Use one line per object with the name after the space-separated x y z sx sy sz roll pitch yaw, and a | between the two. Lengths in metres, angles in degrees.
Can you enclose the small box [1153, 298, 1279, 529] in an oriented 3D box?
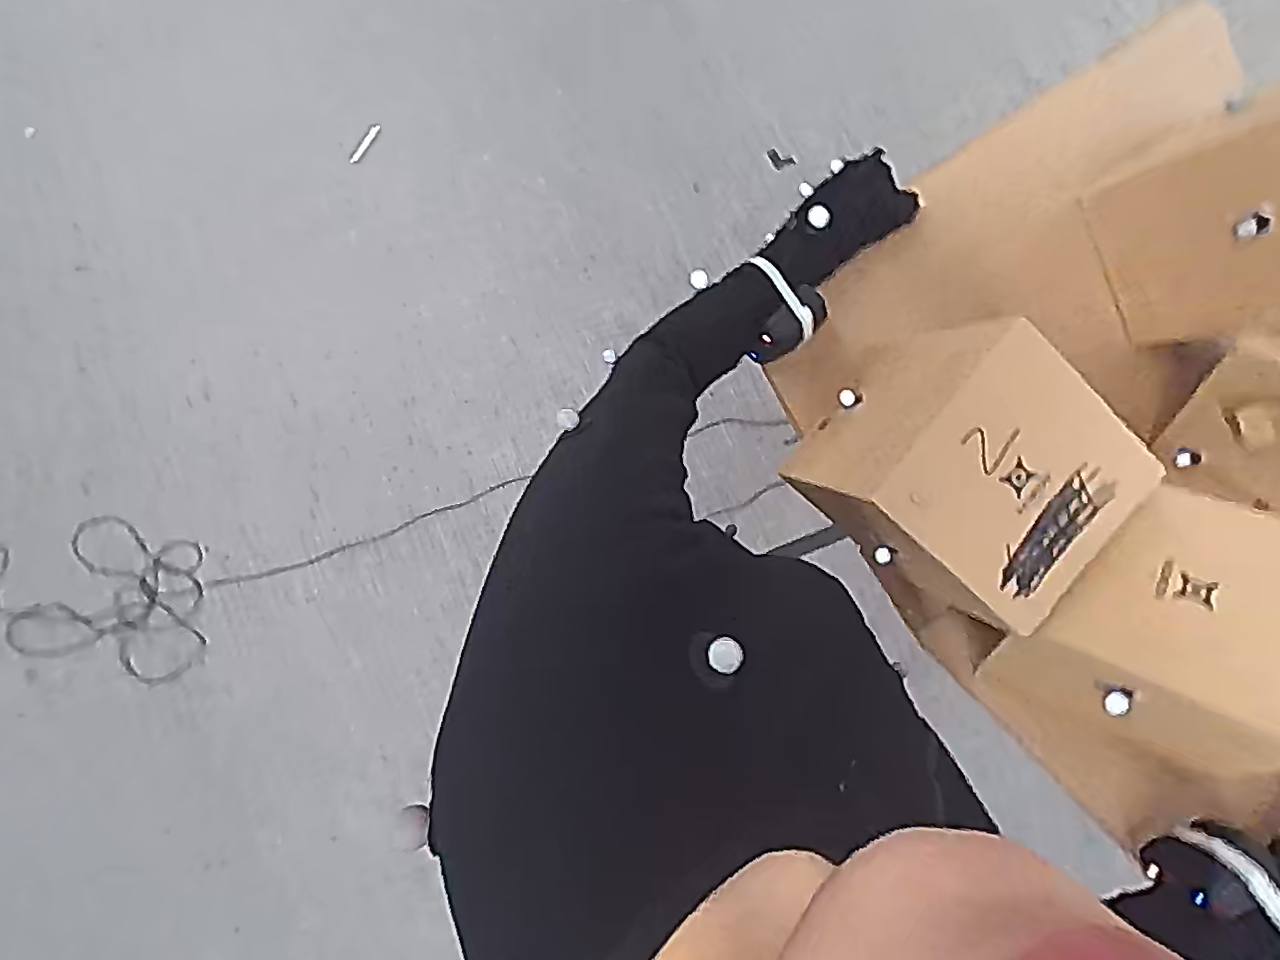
0.658 -0.075 0.517 0.179 0.176 0.168 -31 54 -6 | small box
